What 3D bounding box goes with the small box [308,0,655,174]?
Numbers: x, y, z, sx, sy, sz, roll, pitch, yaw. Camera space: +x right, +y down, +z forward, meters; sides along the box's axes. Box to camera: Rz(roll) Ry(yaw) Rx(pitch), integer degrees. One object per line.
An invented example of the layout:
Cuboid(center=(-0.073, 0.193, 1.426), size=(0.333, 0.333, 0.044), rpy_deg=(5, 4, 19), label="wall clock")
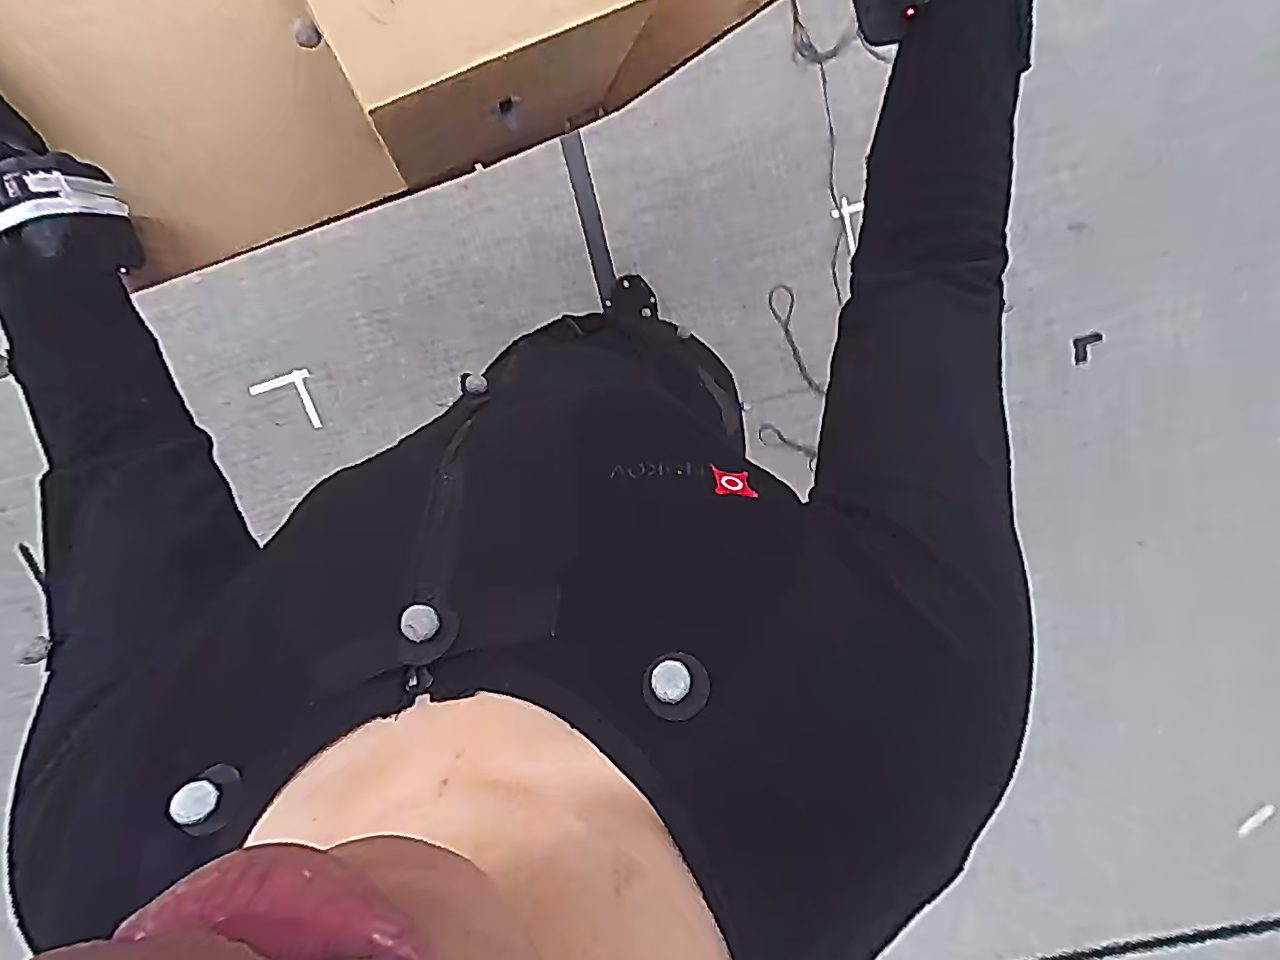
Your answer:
Cuboid(center=(-0.117, -0.321, 0.333), size=(0.179, 0.176, 0.168), rpy_deg=(-28, 112, -6), label="small box")
